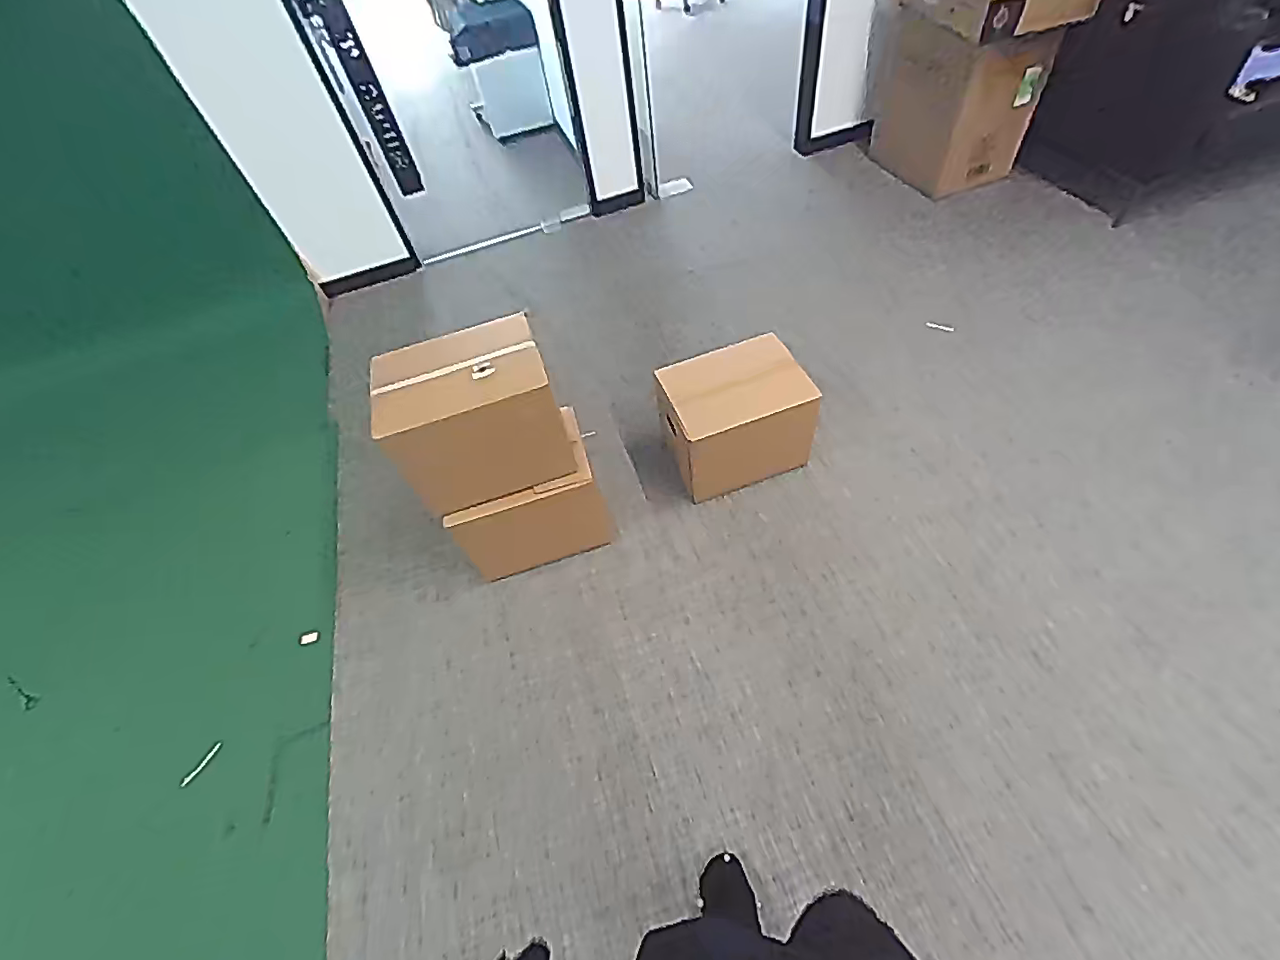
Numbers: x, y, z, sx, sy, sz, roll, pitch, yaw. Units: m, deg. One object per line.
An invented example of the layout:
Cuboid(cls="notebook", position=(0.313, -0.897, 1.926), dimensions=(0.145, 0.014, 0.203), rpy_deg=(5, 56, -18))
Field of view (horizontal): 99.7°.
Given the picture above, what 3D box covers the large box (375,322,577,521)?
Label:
Cuboid(cls="large box", position=(-0.416, -0.151, 1.402), dimensions=(0.408, 0.320, 0.320), rpy_deg=(-18, 50, -6))
